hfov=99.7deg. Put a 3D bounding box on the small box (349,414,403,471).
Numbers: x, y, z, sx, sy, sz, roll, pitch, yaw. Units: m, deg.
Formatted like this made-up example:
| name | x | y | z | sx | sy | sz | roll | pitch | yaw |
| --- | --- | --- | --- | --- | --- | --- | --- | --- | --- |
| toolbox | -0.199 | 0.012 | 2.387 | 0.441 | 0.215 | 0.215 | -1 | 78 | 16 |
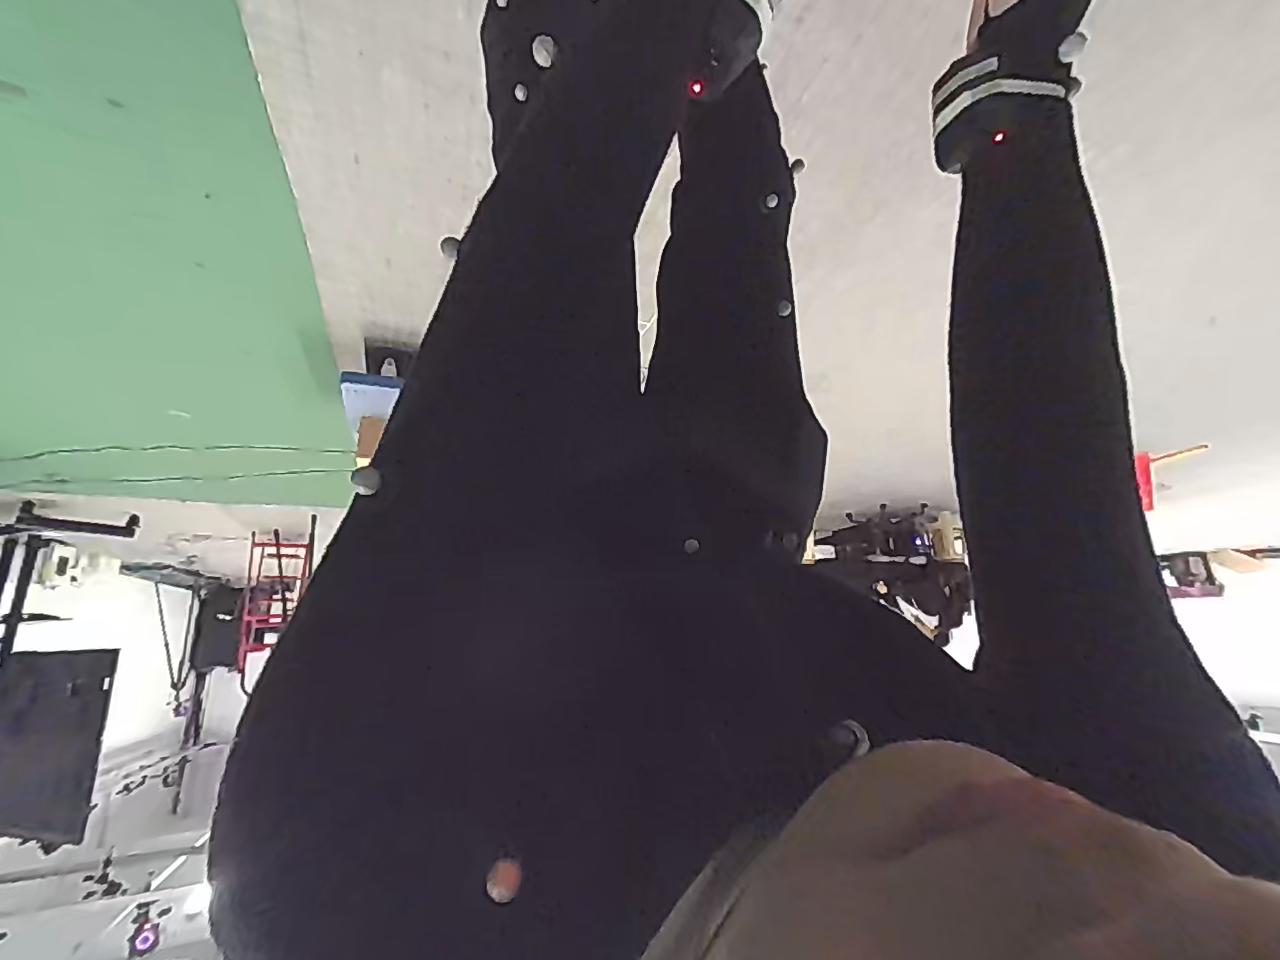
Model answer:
| name | x | y | z | sx | sy | sz | roll | pitch | yaw |
| --- | --- | --- | --- | --- | --- | --- | --- | --- | --- |
| small box | -1.007 | -0.141 | 2.068 | 0.179 | 0.176 | 0.168 | 5 | 162 | -24 |
